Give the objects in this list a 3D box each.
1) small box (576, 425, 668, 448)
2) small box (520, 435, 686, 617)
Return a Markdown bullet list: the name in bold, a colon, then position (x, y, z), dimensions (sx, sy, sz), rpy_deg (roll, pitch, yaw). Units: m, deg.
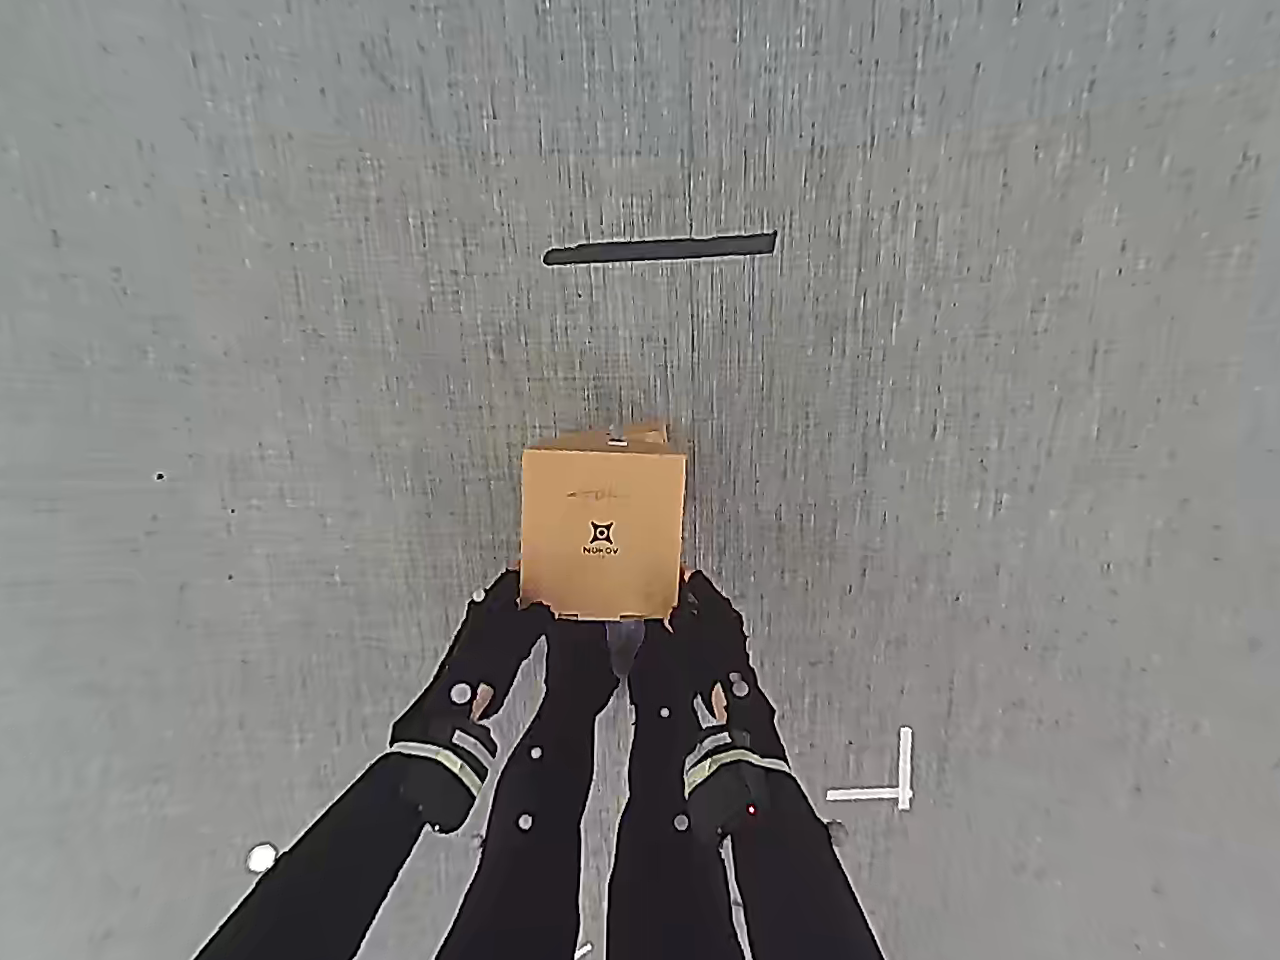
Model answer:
- **small box**: position (-0.037, 0.010, 0.839), dimensions (0.179, 0.176, 0.168), rpy_deg (-7, 100, 5)
- **small box**: position (-0.043, 0.044, 0.629), dimensions (0.168, 0.176, 0.179), rpy_deg (2, 98, -4)
